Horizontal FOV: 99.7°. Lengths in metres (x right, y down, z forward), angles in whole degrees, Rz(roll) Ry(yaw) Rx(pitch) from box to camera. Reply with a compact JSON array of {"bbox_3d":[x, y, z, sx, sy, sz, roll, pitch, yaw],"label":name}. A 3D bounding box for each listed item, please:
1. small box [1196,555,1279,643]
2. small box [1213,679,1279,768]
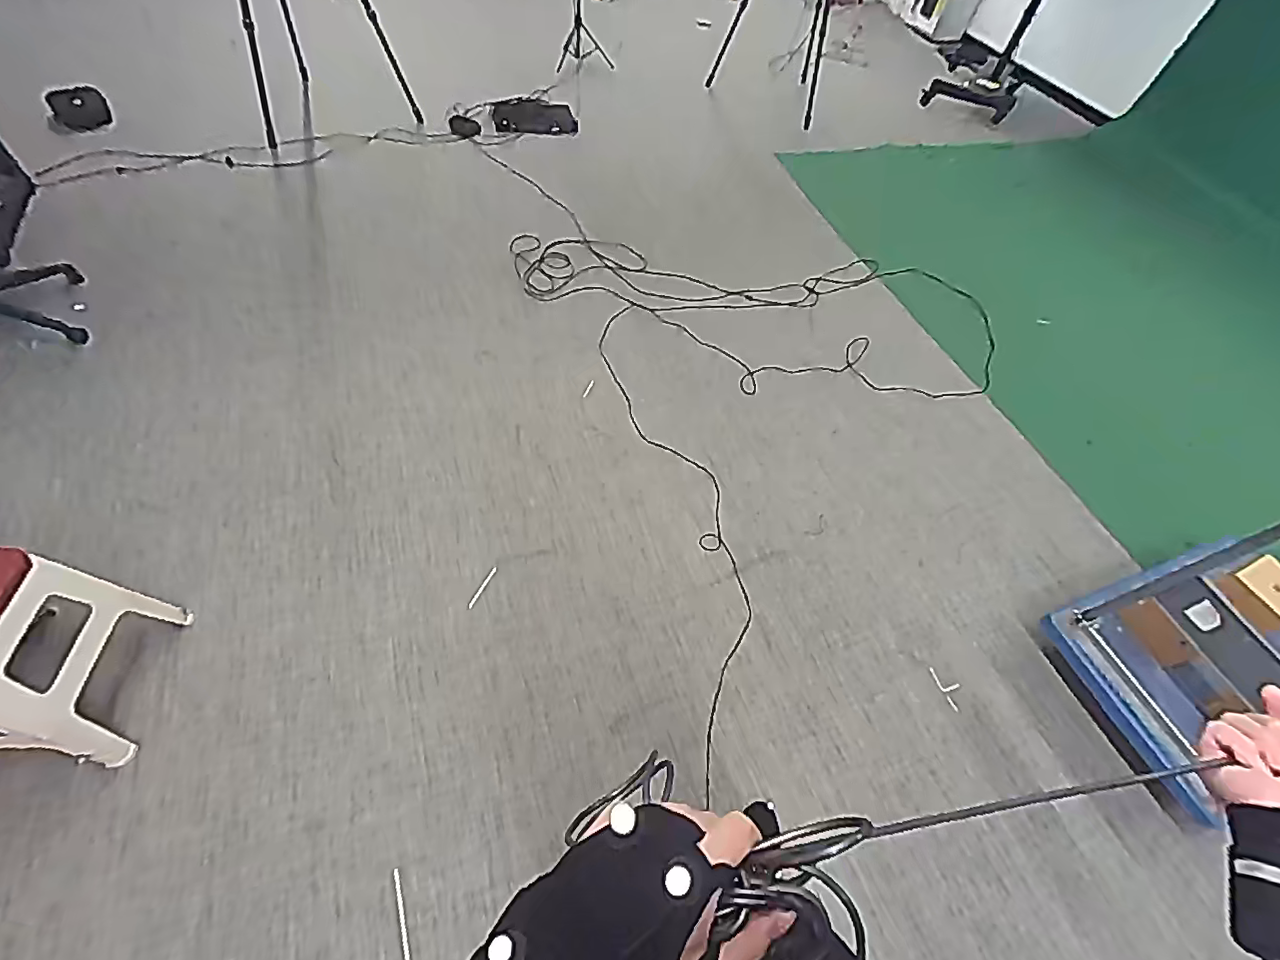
[{"bbox_3d":[1.786,0.348,1.562,0.179,0.176,0.168,-18,60,-18],"label":"small box"},{"bbox_3d":[1.639,0.607,1.368,0.179,0.176,0.168,-14,58,-14],"label":"small box"}]
